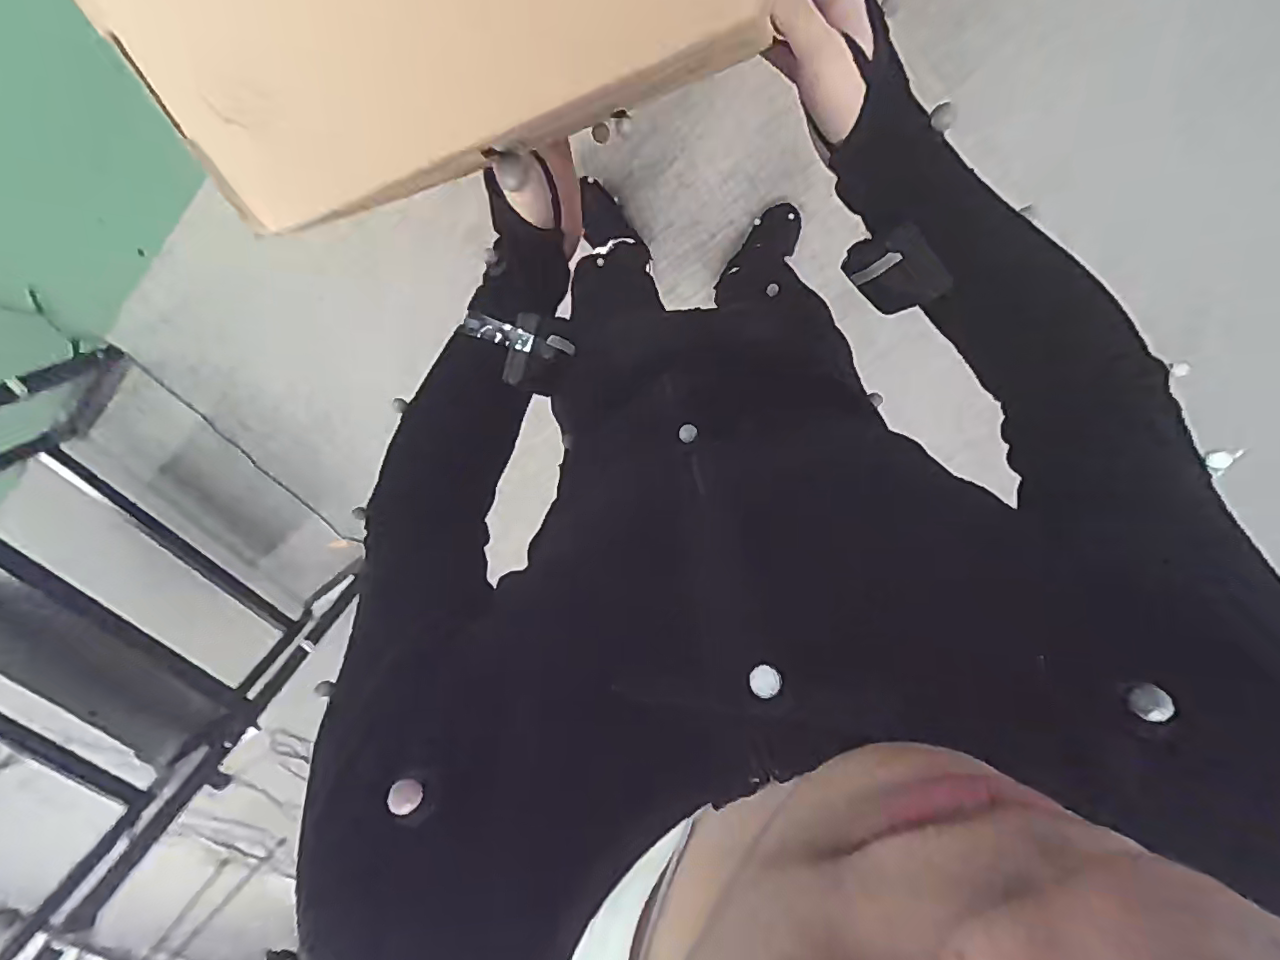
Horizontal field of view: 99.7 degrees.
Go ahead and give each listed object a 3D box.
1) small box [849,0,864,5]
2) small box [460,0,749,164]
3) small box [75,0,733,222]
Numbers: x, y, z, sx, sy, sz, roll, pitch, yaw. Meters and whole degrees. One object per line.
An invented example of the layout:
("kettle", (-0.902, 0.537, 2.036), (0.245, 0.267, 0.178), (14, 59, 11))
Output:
("small box", (0.447, -1.028, 0.989), (0.179, 0.176, 0.168), (-29, 114, 25))
("small box", (-0.040, -0.310, 0.306), (0.179, 0.176, 0.168), (-10, 123, 22))
("small box", (-0.074, -0.212, 0.180), (0.179, 0.176, 0.168), (-10, 124, 21))
